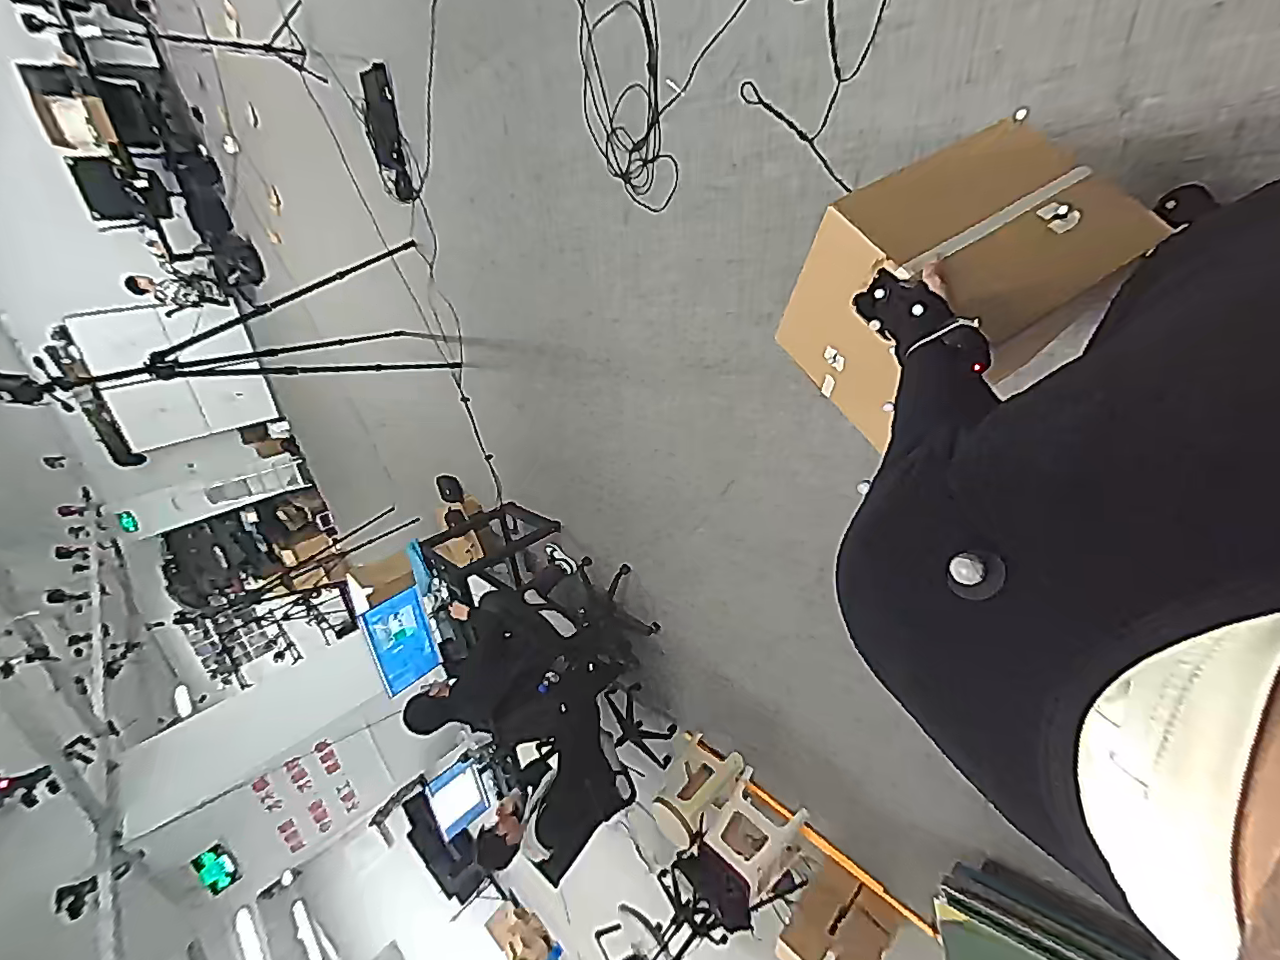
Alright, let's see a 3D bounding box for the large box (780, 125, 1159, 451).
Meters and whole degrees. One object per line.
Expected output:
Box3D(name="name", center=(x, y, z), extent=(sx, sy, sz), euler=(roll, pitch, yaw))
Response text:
Box3D(name="large box", center=(0.522, -0.319, 0.934), extent=(0.320, 0.408, 0.320), euler=(54, 163, 19))
